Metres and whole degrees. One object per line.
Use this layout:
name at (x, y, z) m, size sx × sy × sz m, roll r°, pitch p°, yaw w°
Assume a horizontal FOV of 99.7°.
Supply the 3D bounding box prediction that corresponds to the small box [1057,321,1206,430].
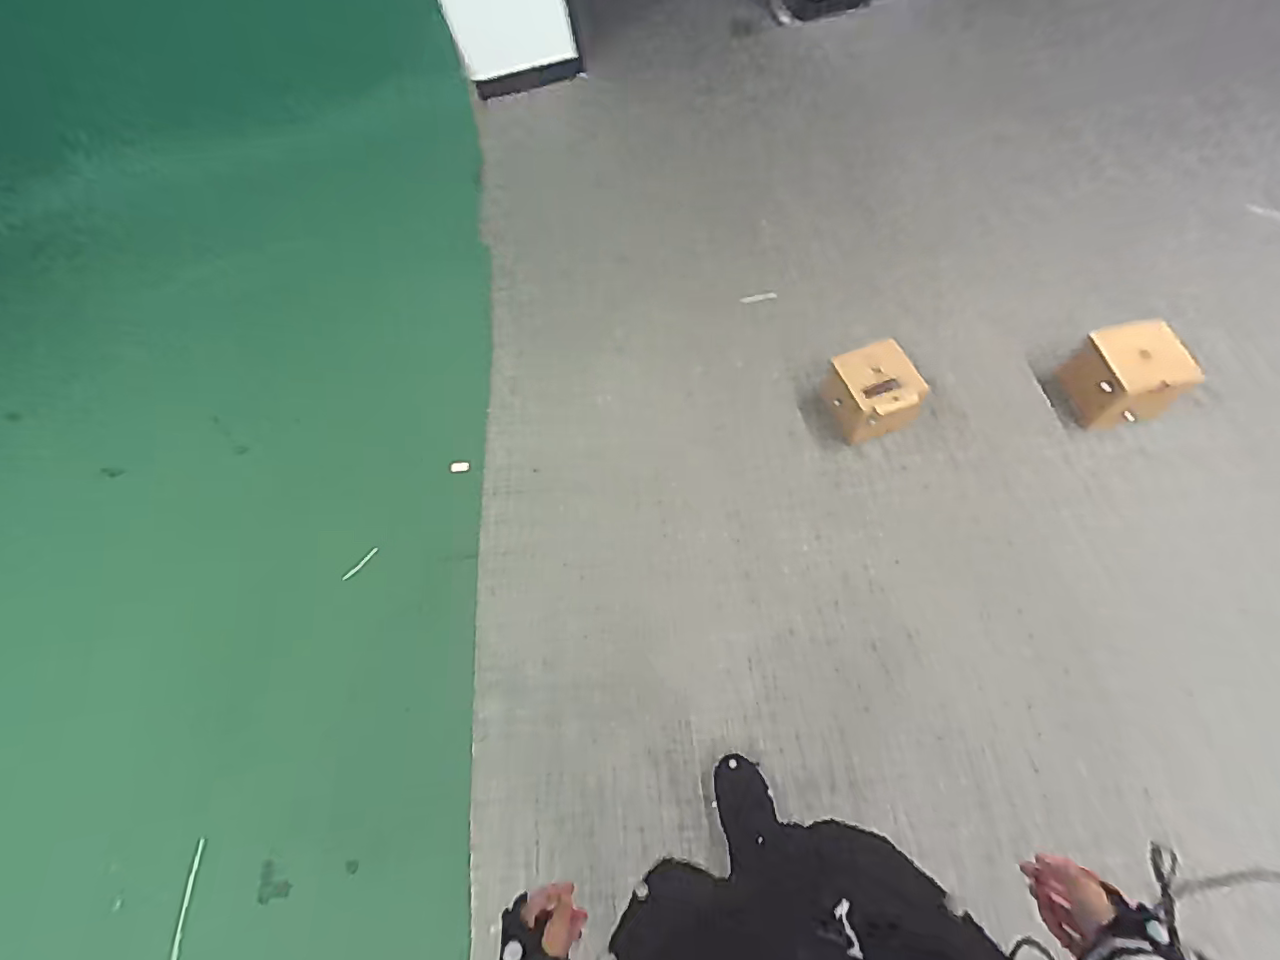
small box at (1.150, -0.243, 1.287) m, size 0.168 × 0.176 × 0.179 m, roll -11°, pitch 64°, yaw 4°
